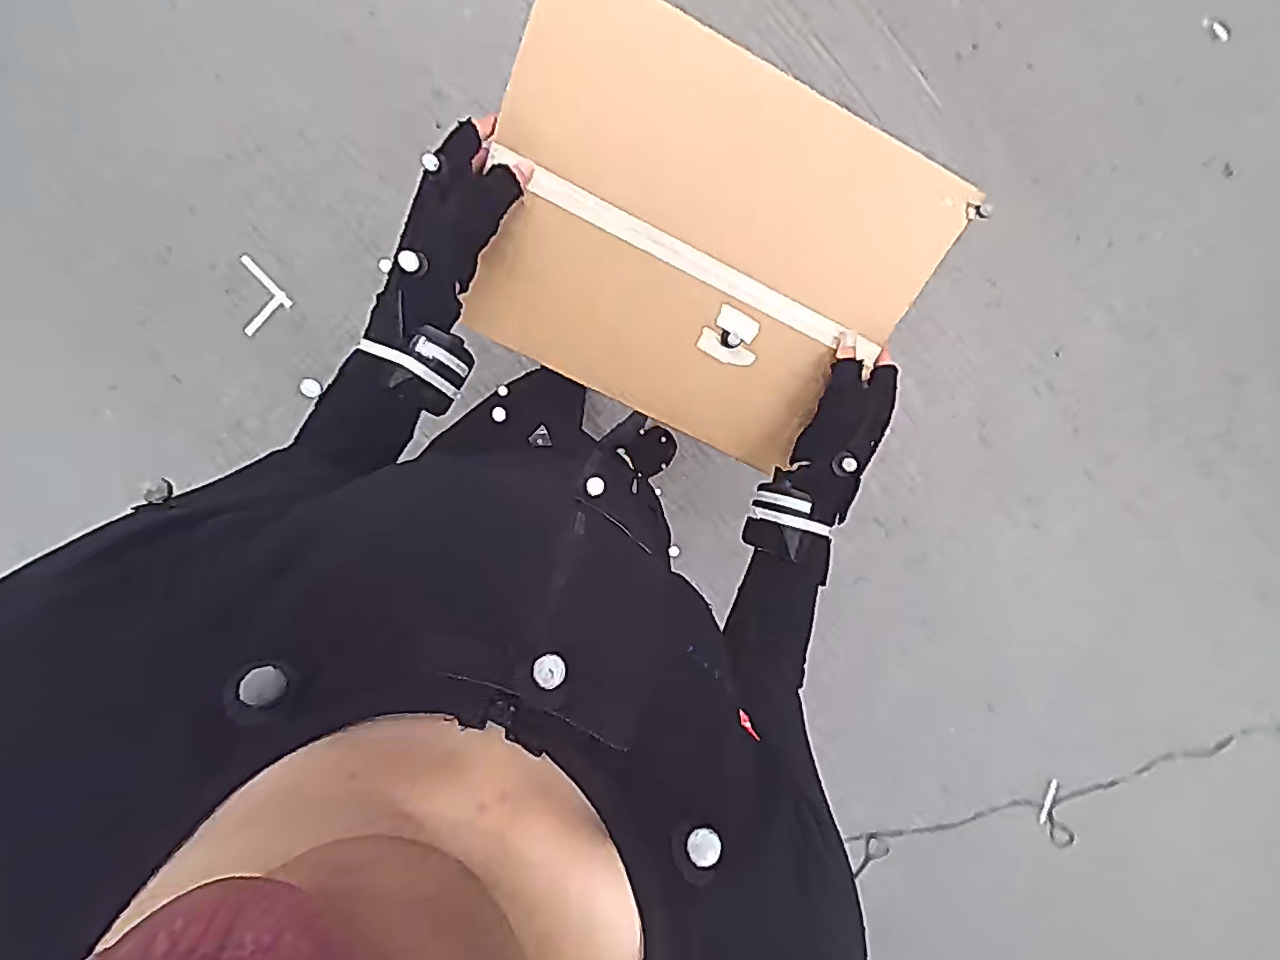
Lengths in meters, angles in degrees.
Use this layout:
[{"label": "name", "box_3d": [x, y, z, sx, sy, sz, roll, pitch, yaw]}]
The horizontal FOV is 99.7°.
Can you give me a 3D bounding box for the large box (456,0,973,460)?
[{"label": "large box", "box_3d": [0.059, -0.283, 0.643, 0.408, 0.320, 0.320, 24, 116, -8]}]
